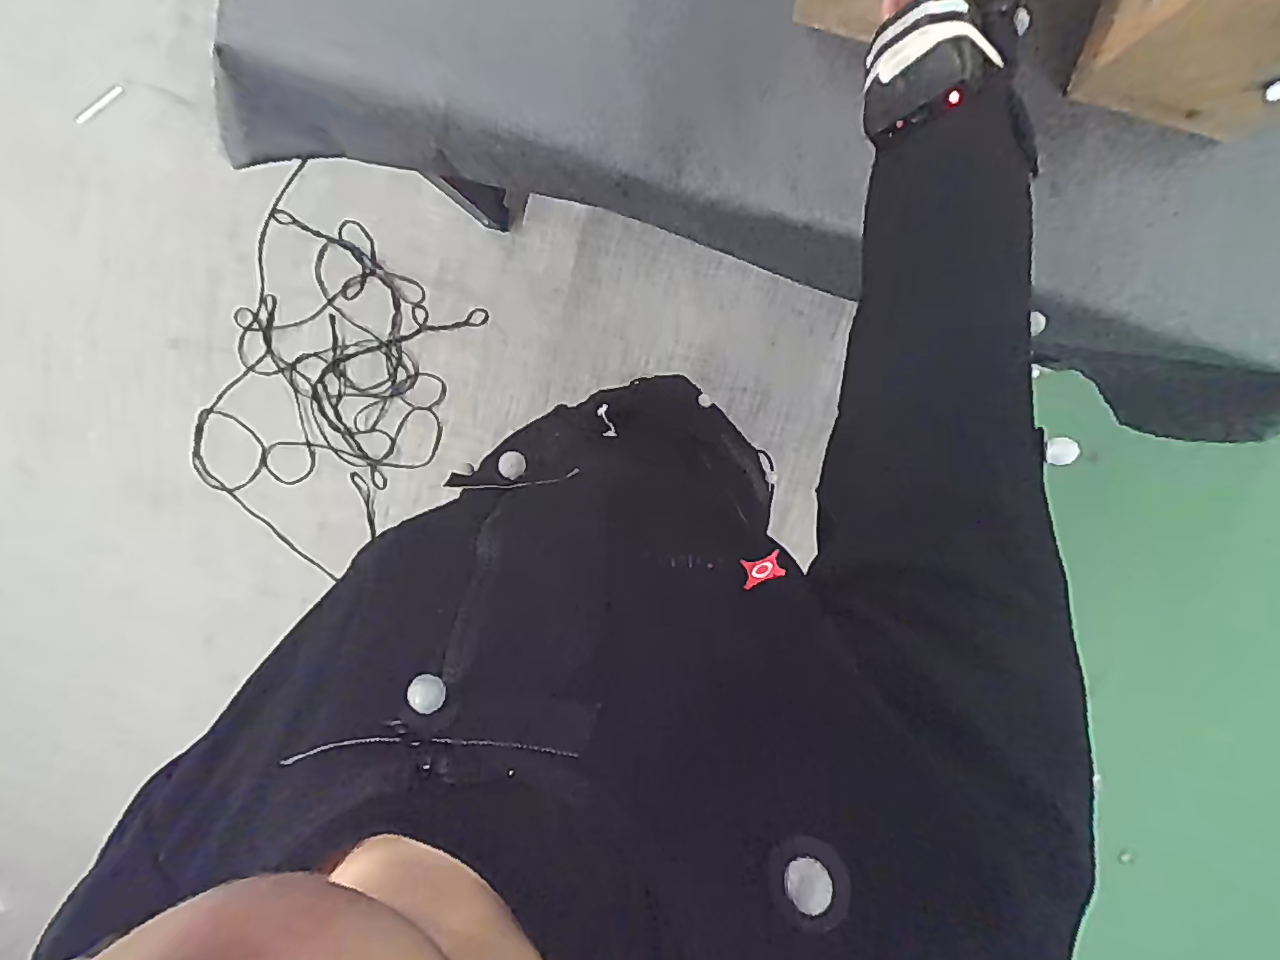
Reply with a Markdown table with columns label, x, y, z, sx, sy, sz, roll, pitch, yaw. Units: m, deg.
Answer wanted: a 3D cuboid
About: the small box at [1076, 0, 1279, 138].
| label | x | y | z | sx | sy | sz | roll | pitch | yaw |
| --- | --- | --- | --- | --- | --- | --- | --- | --- | --- |
| small box | 0.502 | -0.410 | 0.426 | 0.168 | 0.176 | 0.179 | 15 | 100 | -1 |
